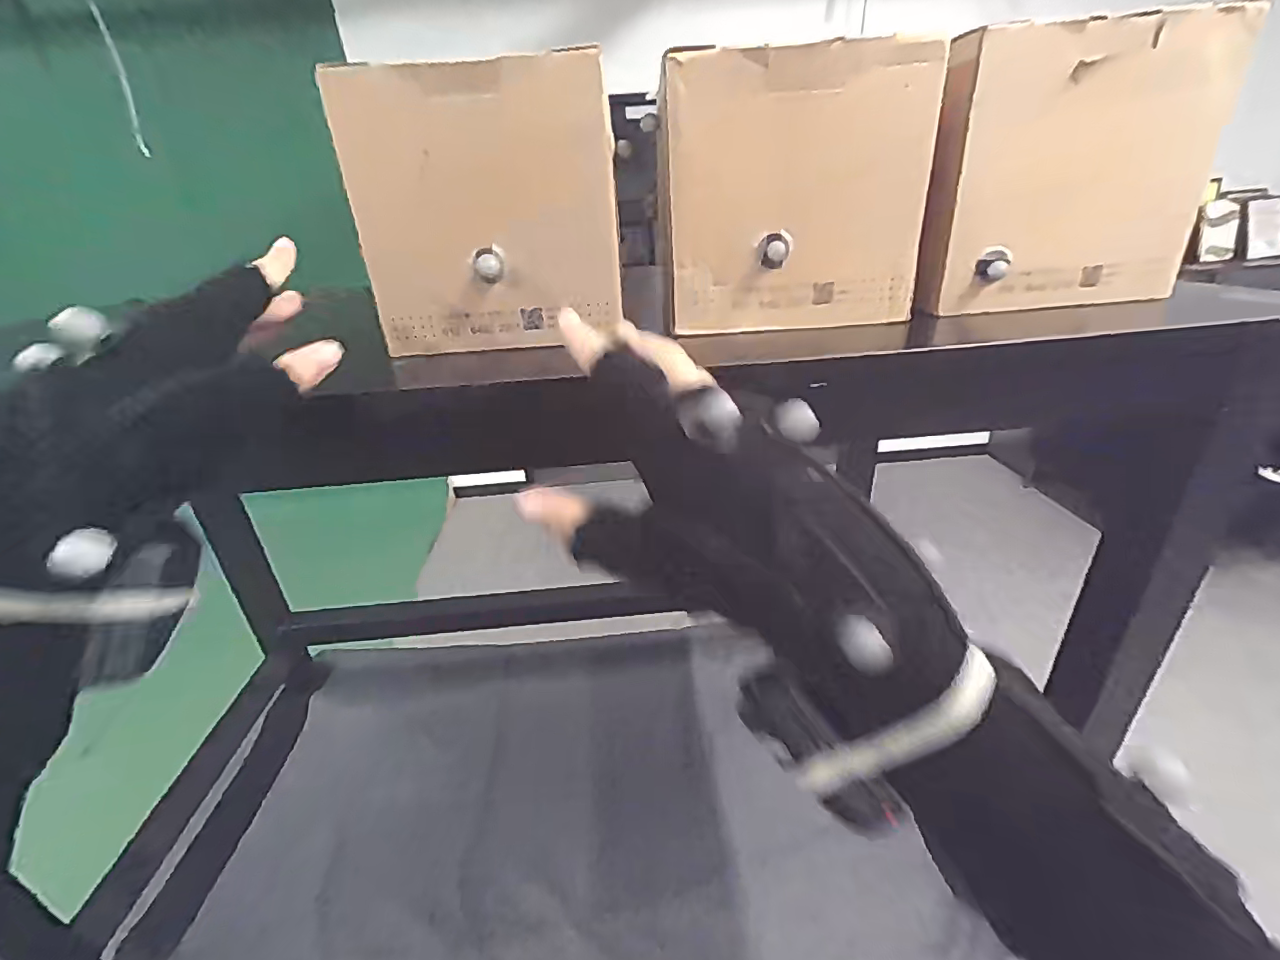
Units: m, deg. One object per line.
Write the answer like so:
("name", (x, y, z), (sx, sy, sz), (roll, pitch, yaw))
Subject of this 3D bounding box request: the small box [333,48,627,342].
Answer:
("small box", (-0.099, -0.208, 0.424), (0.168, 0.176, 0.179), (-4, 26, 0))

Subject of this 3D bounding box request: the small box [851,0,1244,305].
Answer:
("small box", (0.282, -0.236, 0.429), (0.168, 0.176, 0.179), (-4, 25, 1))
